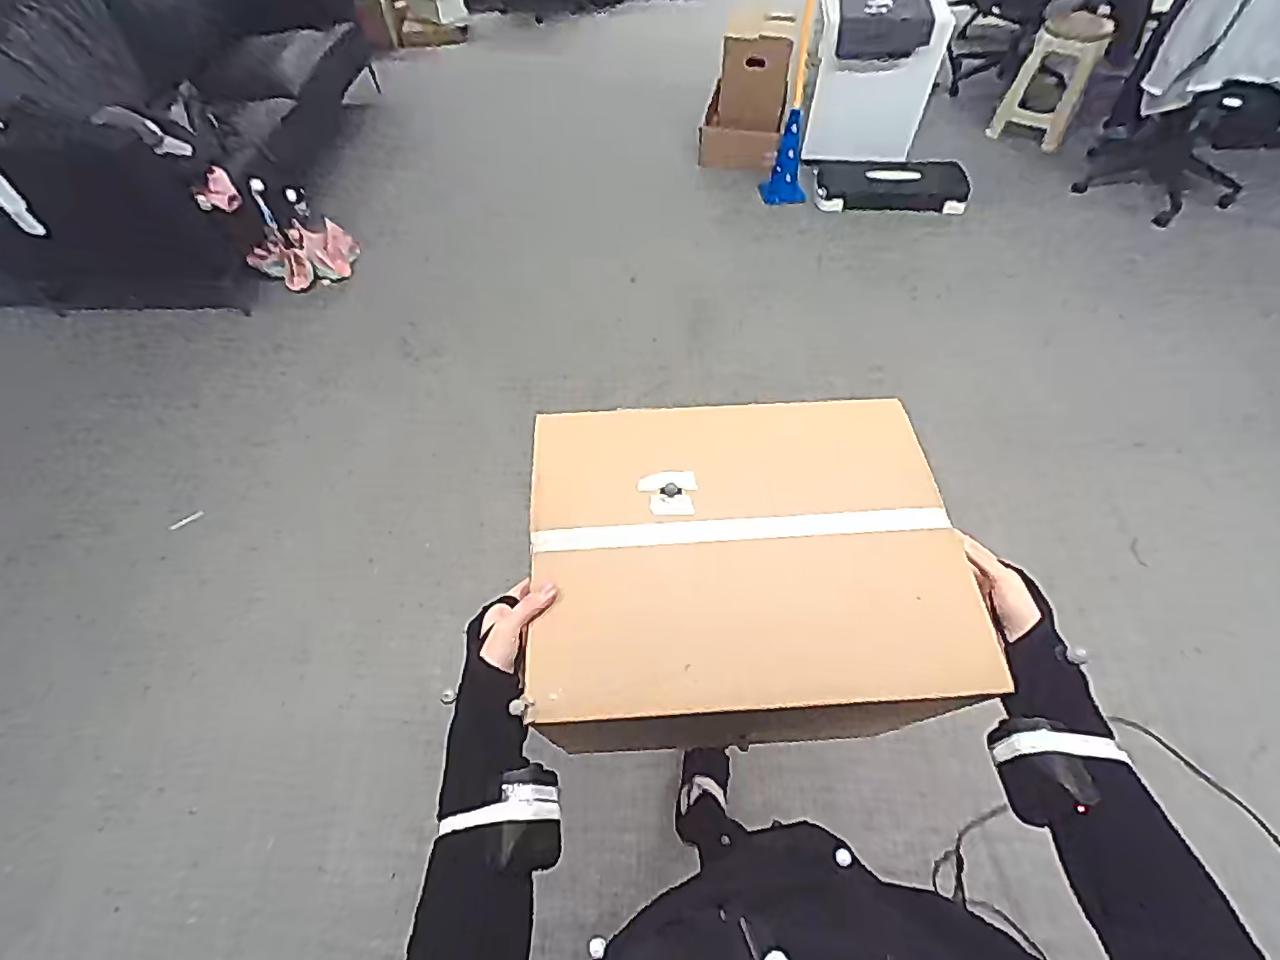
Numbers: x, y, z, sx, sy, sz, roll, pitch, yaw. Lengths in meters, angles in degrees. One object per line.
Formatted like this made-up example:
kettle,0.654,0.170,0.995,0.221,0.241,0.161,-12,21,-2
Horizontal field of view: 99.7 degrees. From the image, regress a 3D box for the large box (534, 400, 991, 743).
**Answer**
large box,0.101,0.129,0.664,0.408,0.320,0.320,-4,59,-1
